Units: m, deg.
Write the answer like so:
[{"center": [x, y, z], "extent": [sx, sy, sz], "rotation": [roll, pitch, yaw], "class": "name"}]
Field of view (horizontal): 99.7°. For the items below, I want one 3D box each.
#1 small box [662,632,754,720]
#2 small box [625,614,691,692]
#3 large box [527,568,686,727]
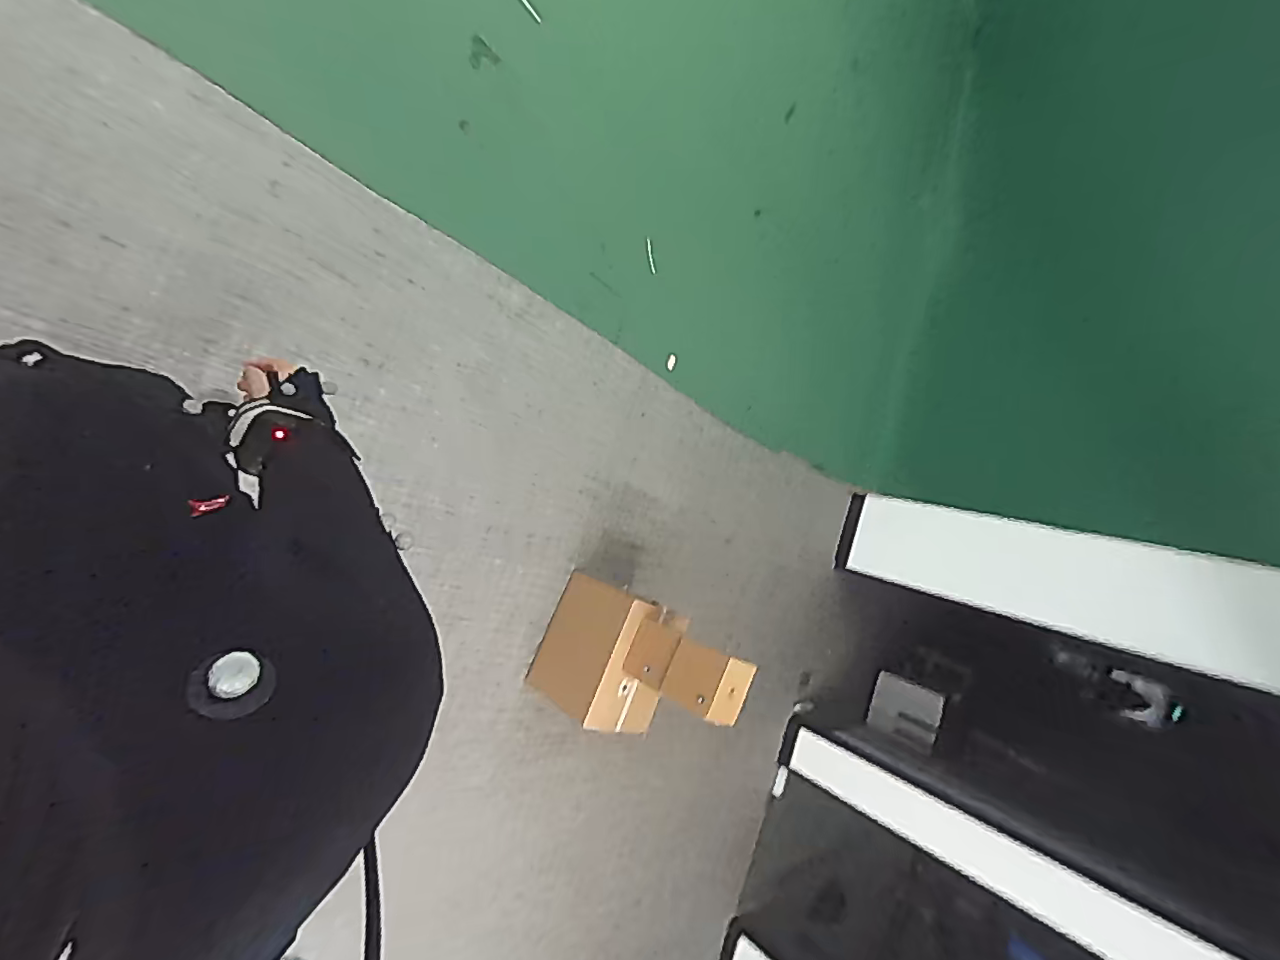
[{"center": [0.190, 0.550, 1.530], "extent": [0.168, 0.176, 0.179], "rotation": [34, 76, -45], "class": "small box"}, {"center": [0.078, 0.530, 1.646], "extent": [0.168, 0.176, 0.179], "rotation": [32, 77, -46], "class": "small box"}, {"center": [-0.110, 0.555, 1.812], "extent": [0.320, 0.320, 0.408], "rotation": [31, 79, -44], "class": "large box"}]
